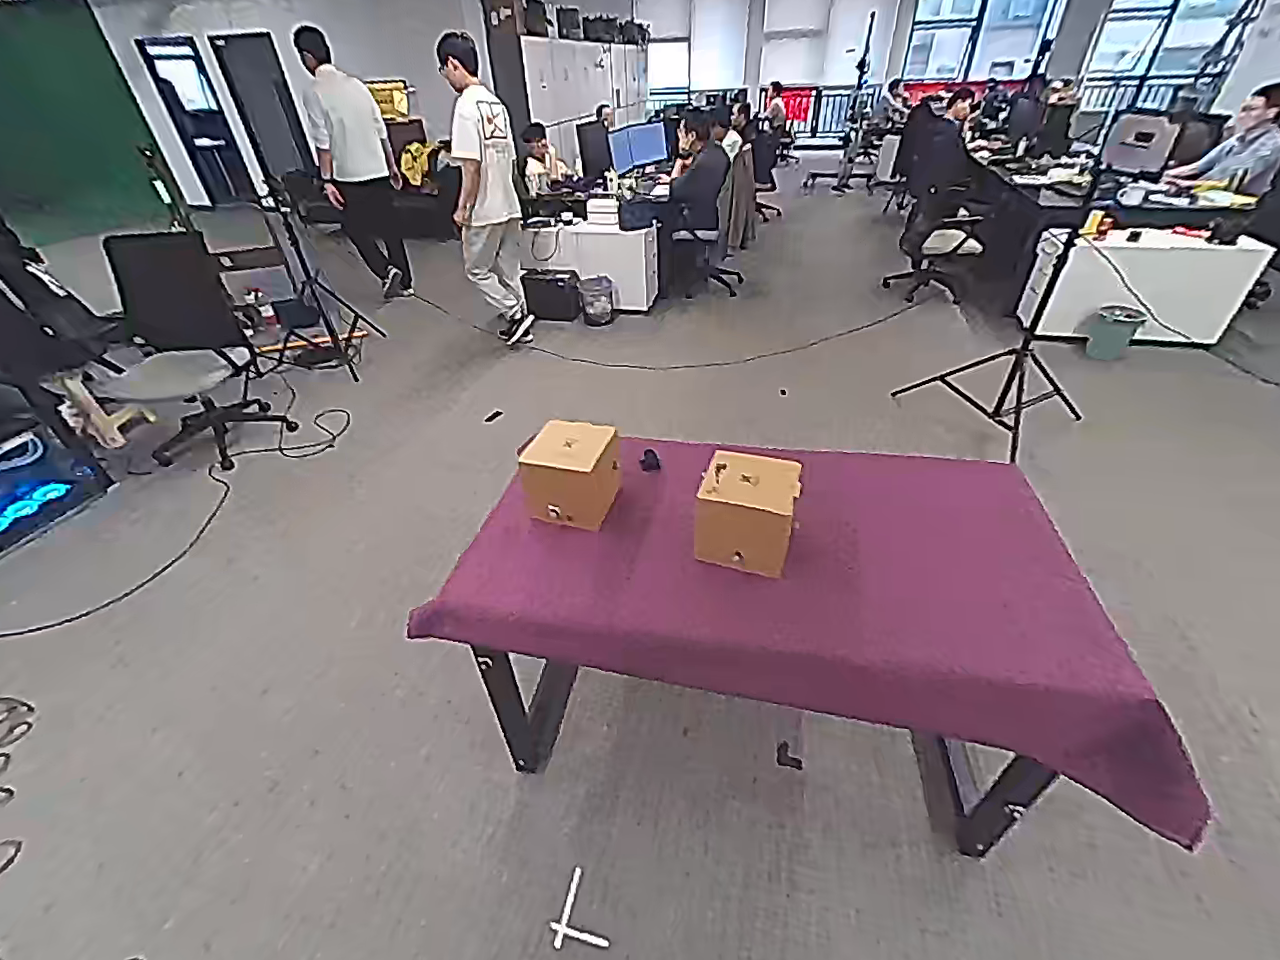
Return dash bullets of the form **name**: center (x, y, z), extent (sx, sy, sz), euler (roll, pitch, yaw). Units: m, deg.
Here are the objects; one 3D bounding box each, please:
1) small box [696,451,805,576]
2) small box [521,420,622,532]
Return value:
- **small box**: center (0.219, 0.068, 1.083), extent (0.179, 0.176, 0.168), euler (12, 39, 17)
- **small box**: center (-0.143, -0.011, 1.210), extent (0.168, 0.176, 0.179), euler (8, 39, 15)
